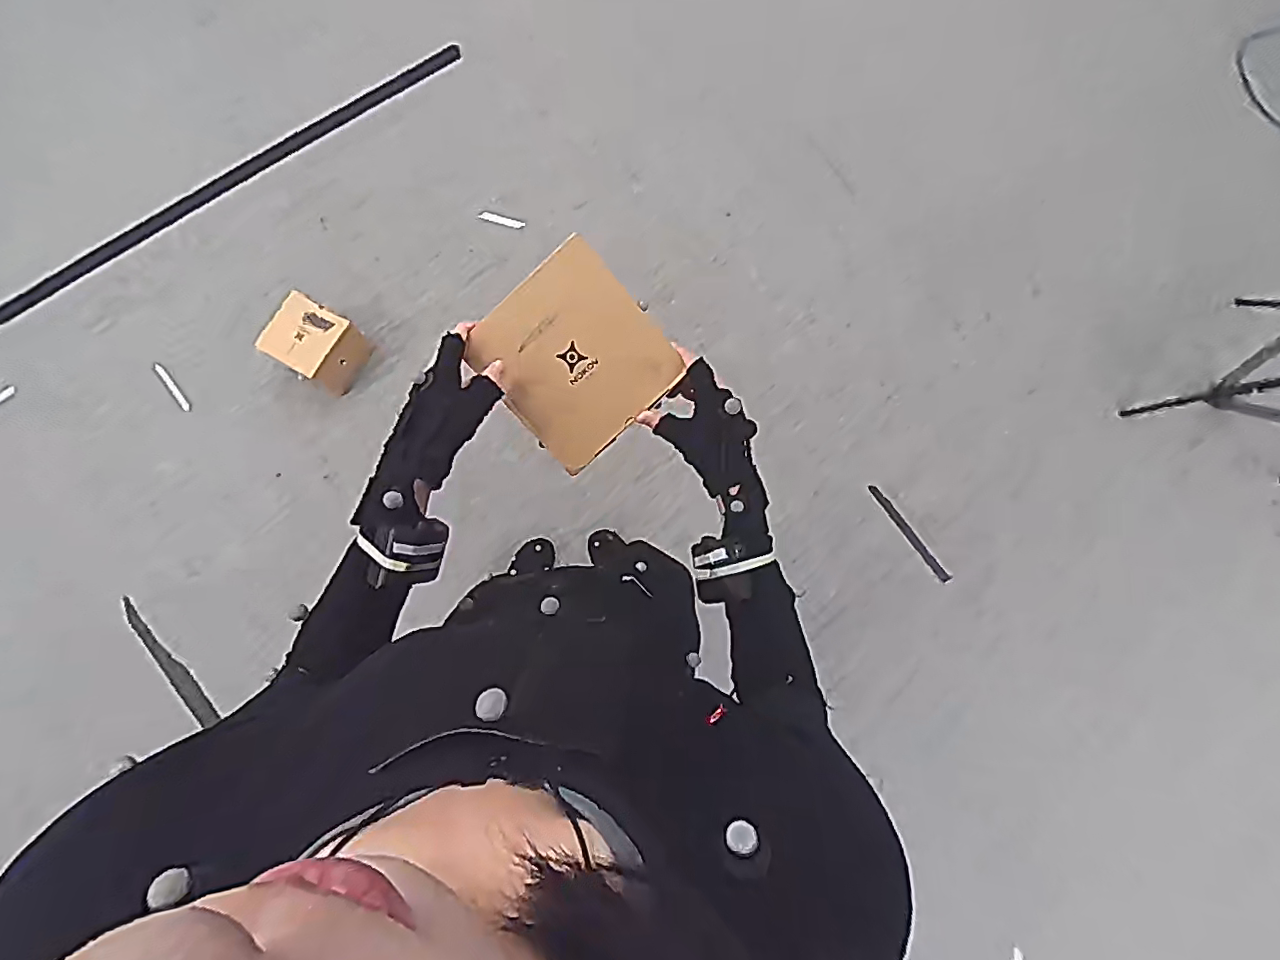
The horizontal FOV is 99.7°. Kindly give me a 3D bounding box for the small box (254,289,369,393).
[{"bbox_3d":[-0.851,-0.359,1.428,0.168,0.176,0.179,31,83,-1],"label":"small box"}]
